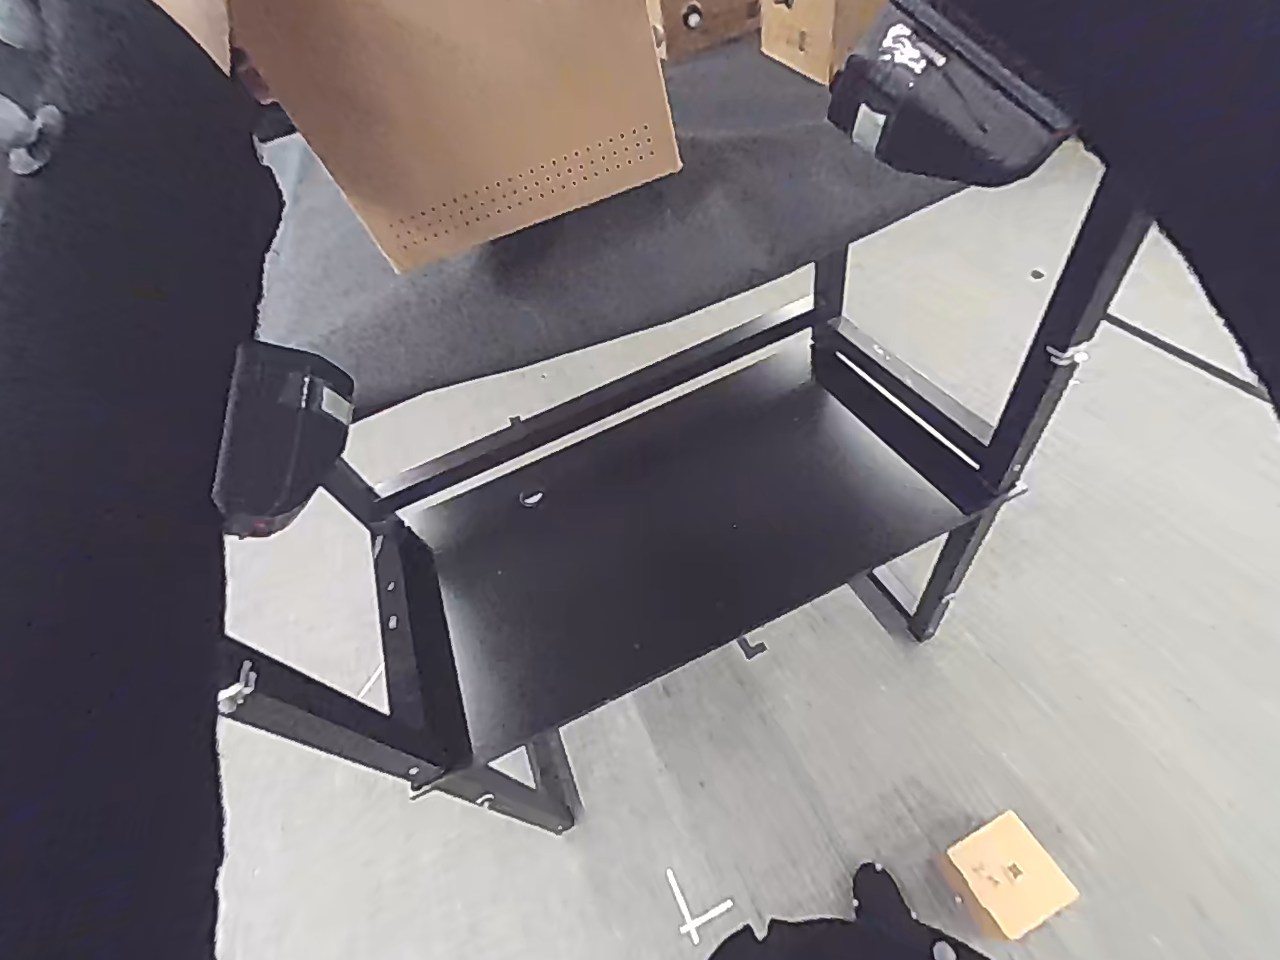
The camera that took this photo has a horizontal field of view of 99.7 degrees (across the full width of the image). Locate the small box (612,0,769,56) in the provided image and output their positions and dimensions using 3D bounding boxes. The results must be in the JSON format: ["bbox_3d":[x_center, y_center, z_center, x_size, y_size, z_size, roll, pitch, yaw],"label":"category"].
[{"bbox_3d":[0.056,-0.599,0.594,0.168,0.176,0.179,-23,49,-4],"label":"small box"}]

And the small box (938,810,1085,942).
[{"bbox_3d":[0.774,0.840,1.152,0.179,0.176,0.168,-27,50,-7],"label":"small box"}]

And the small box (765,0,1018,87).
[{"bbox_3d":[0.205,-0.457,0.438,0.179,0.176,0.168,-18,48,2],"label":"small box"}]
